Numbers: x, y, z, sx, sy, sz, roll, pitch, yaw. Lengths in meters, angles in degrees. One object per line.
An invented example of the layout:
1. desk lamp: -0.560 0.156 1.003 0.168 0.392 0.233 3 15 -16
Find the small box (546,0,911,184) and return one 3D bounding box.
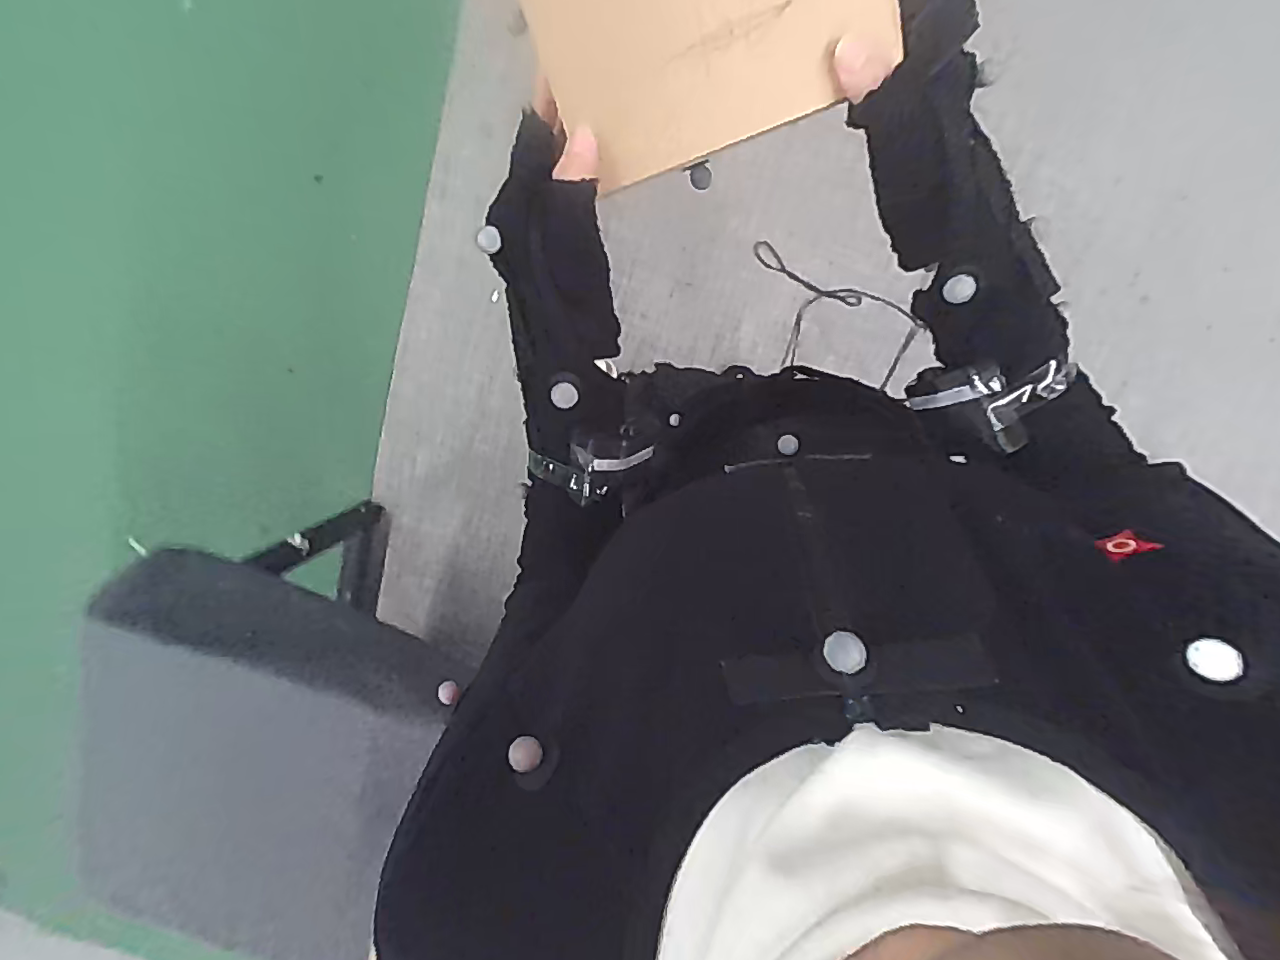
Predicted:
1. small box: 0.030 -0.289 0.310 0.168 0.176 0.179 -16 117 9
